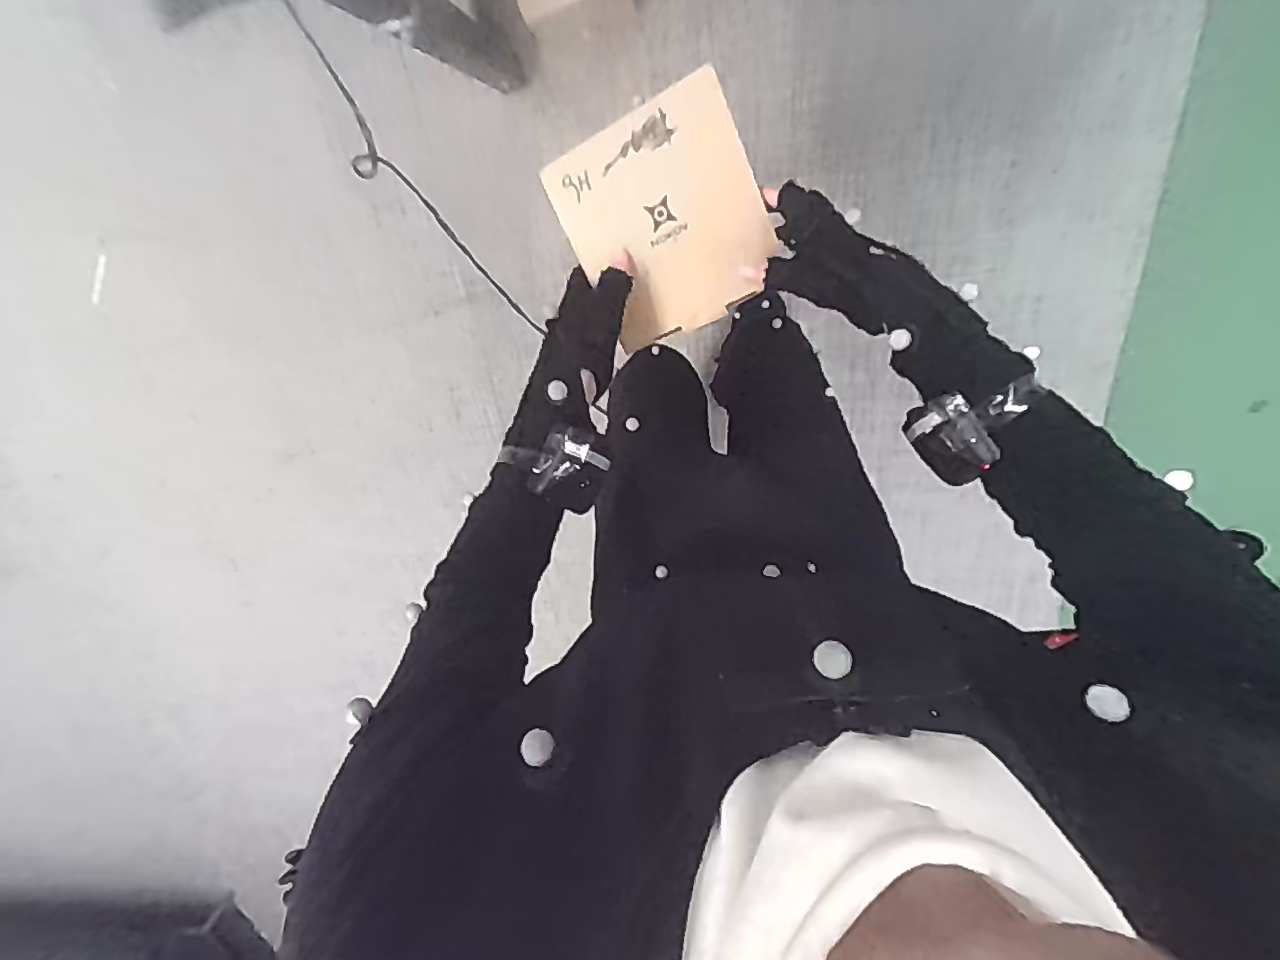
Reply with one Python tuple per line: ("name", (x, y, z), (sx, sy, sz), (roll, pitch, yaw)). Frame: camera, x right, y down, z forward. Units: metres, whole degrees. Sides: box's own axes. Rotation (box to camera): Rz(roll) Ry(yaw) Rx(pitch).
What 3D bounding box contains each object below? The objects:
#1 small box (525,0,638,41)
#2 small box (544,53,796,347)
("small box", (-0.108, -0.843, 0.852), (0.168, 0.176, 0.179), (-12, 116, 13))
("small box", (0.040, -0.257, 0.527), (0.168, 0.176, 0.179), (-21, 110, 19))
